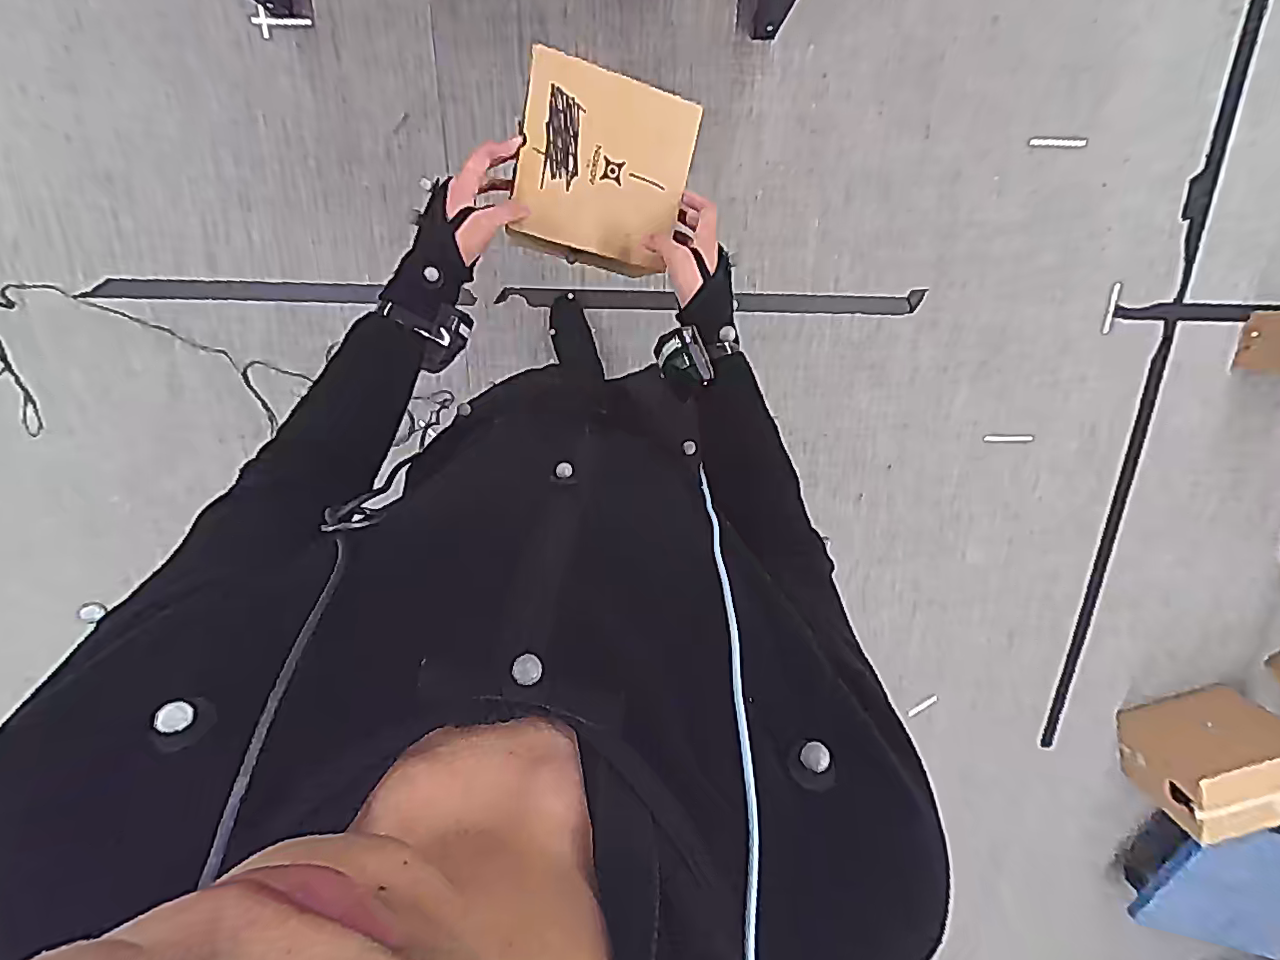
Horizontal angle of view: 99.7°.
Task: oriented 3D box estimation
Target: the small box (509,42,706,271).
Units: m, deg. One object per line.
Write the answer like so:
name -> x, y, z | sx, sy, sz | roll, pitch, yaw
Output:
small box -> -0.050, -0.347, 0.625 | 0.179, 0.176, 0.168 | 10, 106, -17

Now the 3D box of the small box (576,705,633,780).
small box -> -0.126, 0.910, 1.886 | 0.179, 0.176, 0.168 | 6, 108, -6
